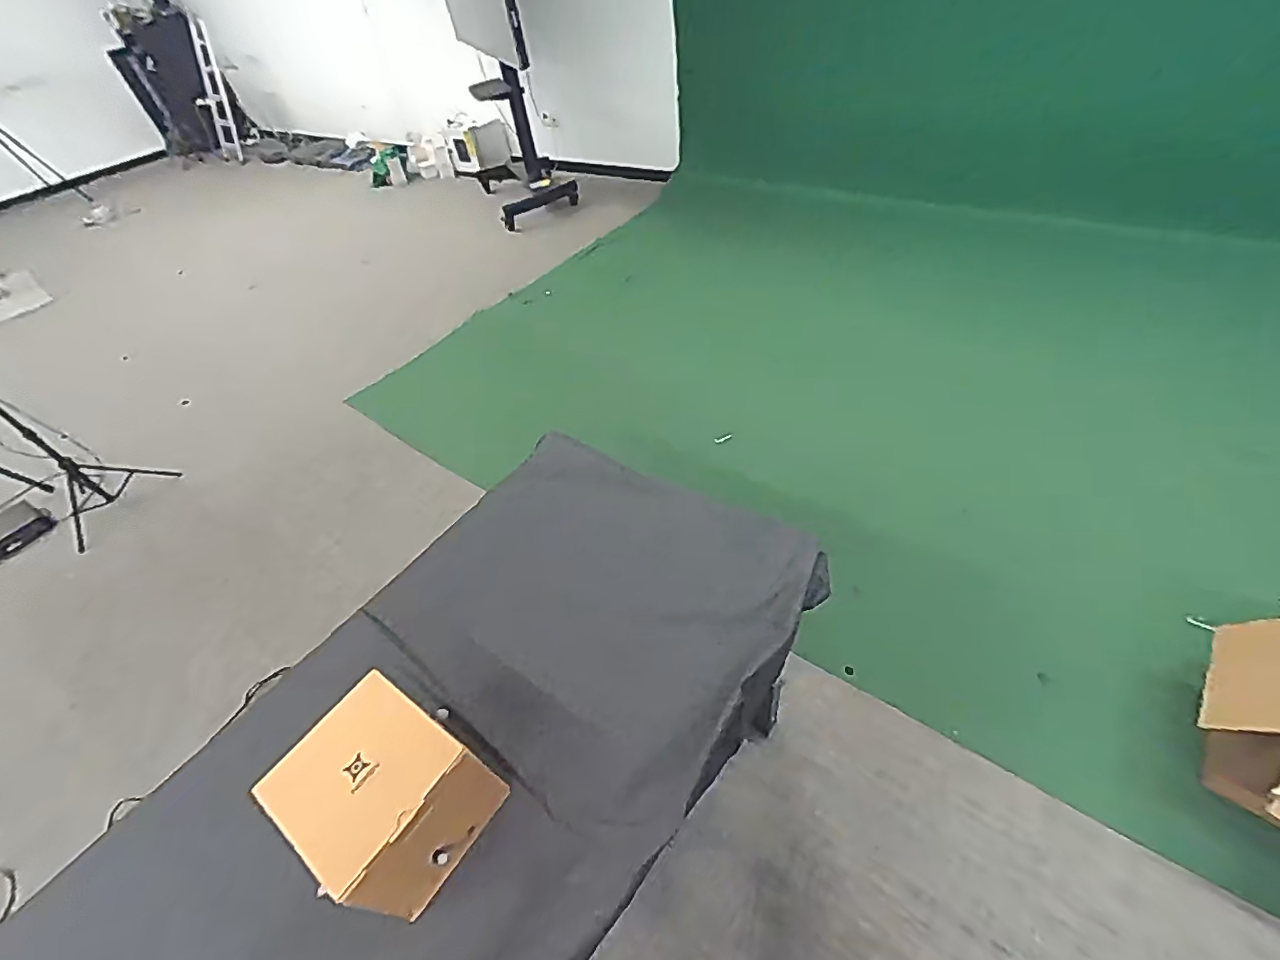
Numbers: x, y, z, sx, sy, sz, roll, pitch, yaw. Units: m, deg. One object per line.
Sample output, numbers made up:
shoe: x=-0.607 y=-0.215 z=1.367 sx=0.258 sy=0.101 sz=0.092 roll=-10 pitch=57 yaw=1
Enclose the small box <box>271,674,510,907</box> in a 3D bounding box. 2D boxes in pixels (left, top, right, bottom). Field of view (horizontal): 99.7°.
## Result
small box: x=-0.291 y=0.382 z=0.663 sx=0.179 sy=0.176 sz=0.168 roll=24 pitch=55 yaw=28
